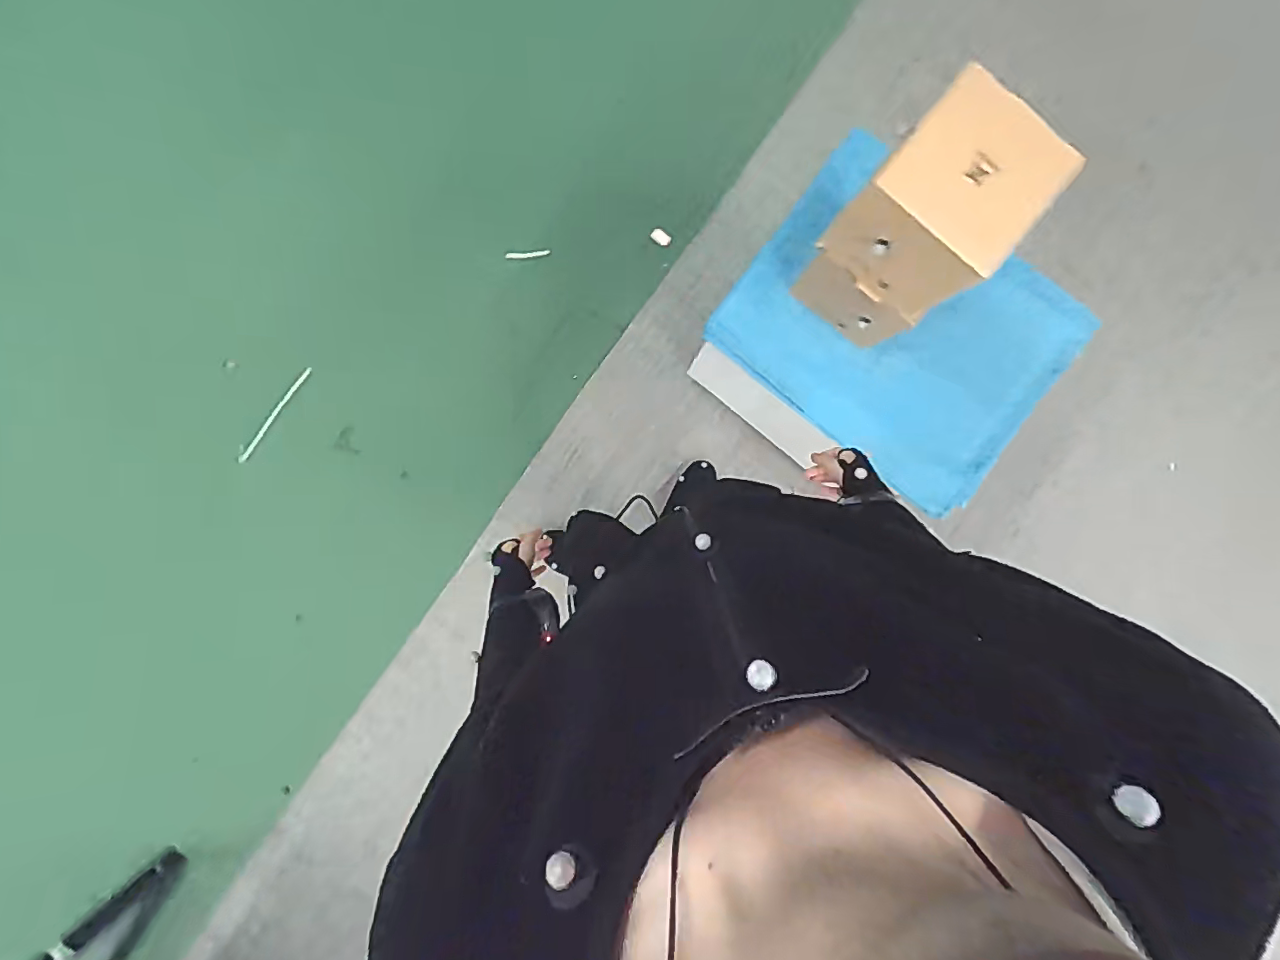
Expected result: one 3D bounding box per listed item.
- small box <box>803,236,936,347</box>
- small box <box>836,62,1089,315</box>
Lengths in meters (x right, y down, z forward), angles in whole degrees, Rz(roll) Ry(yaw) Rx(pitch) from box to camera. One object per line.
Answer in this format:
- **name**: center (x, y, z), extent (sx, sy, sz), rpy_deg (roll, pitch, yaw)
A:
- **small box**: center (0.372, -0.328, 0.821), extent (0.168, 0.176, 0.179), rpy_deg (39, 90, -3)
- **small box**: center (0.367, -0.332, 0.659), extent (0.168, 0.176, 0.179), rpy_deg (40, 89, -2)
